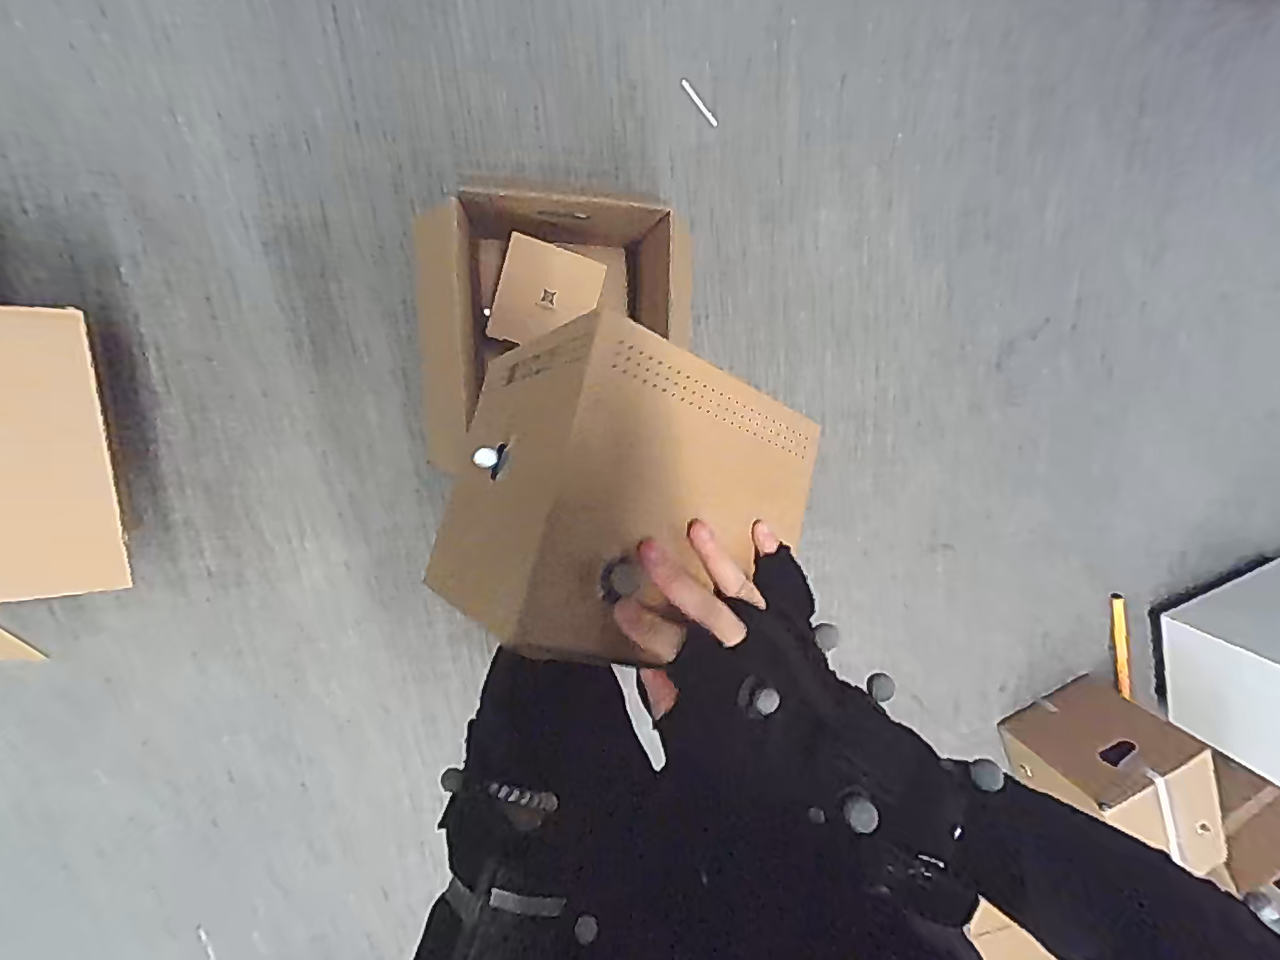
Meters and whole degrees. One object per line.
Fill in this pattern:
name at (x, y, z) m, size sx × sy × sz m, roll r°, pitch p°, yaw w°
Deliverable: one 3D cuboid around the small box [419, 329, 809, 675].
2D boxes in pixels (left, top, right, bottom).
small box at (-0.017, 0.013, 0.357) m, size 0.179 × 0.168 × 0.176 m, roll 19°, pitch 82°, yaw -33°
